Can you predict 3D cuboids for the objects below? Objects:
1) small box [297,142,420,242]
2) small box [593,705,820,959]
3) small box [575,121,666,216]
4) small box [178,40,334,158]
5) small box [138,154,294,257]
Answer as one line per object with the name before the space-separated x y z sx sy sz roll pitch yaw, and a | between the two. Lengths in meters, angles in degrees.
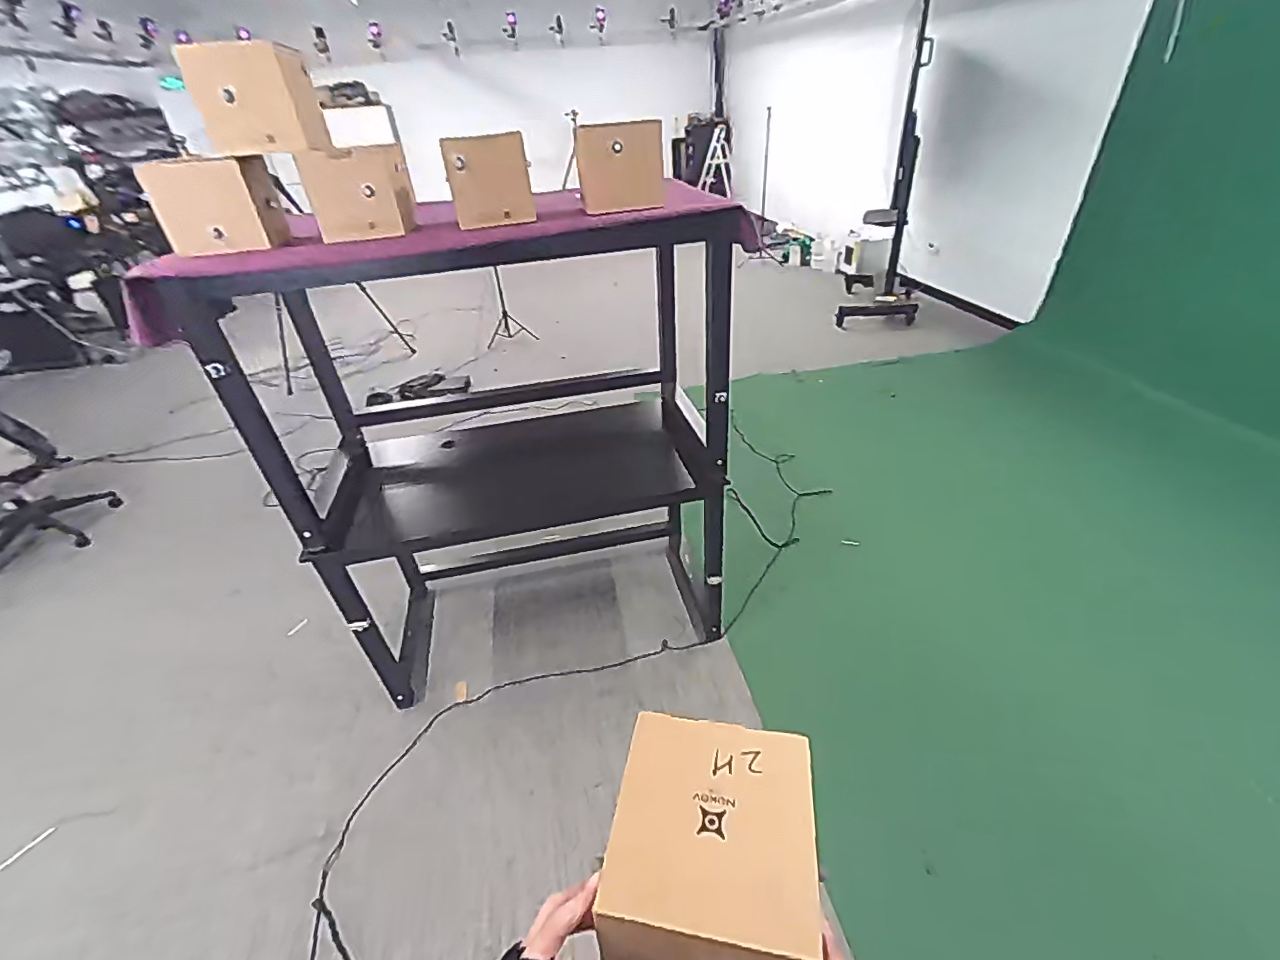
small box | -0.584 -0.612 1.152 0.168 0.176 0.179 -8 33 -6
small box | 0.064 0.342 0.492 0.168 0.176 0.179 4 30 10
small box | -0.044 -0.703 1.224 0.179 0.176 0.168 -9 34 -7
small box | -0.723 -0.728 1.047 0.168 0.176 0.179 -9 34 -8
small box | -0.851 -0.567 1.111 0.179 0.176 0.168 -10 34 -10
